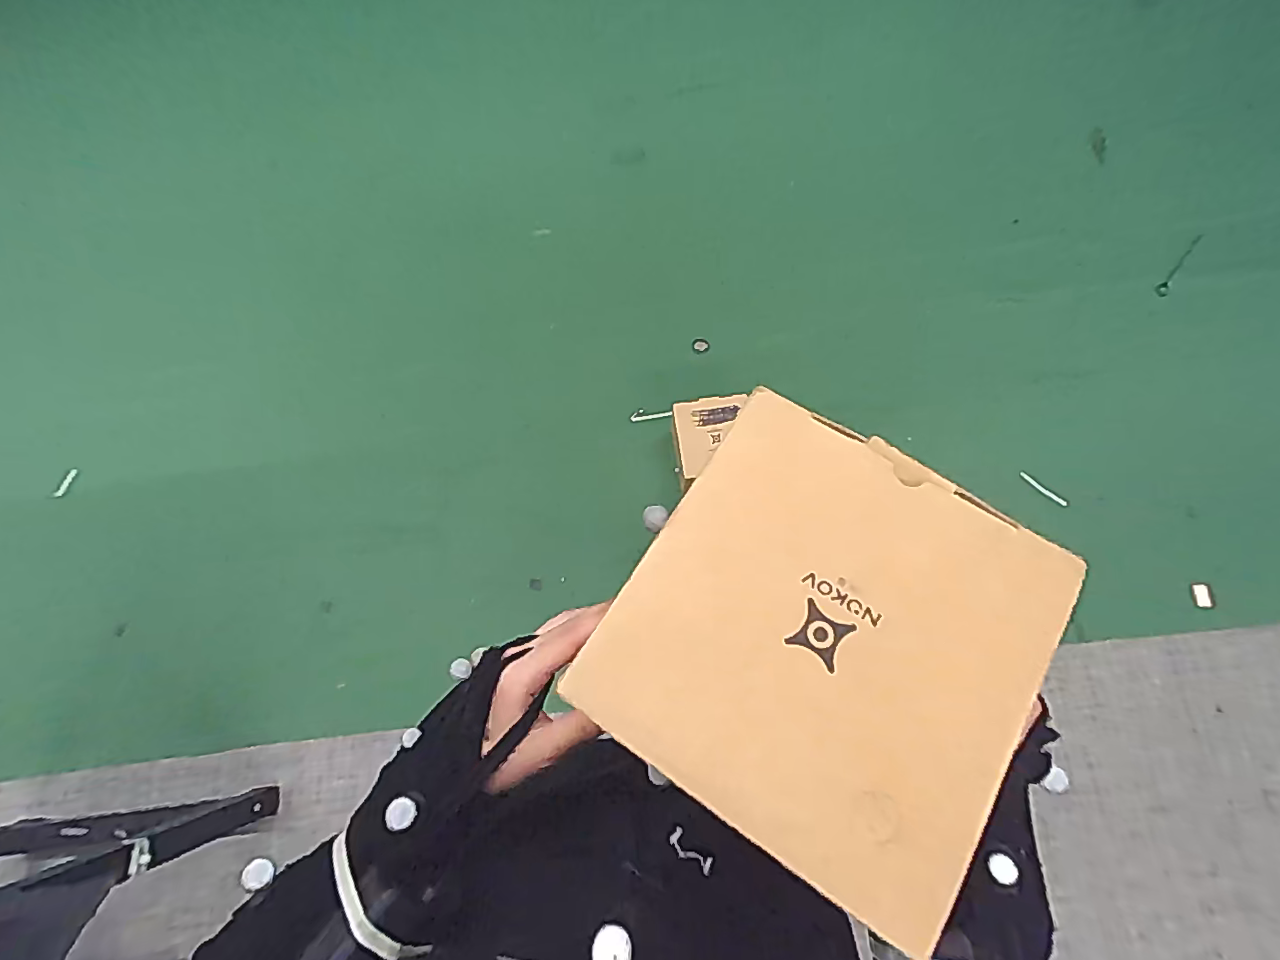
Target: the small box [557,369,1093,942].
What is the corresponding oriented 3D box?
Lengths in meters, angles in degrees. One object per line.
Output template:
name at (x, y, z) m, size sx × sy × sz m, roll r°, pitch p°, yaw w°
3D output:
small box at (0.083, 0.080, 0.301) m, size 0.168 × 0.176 × 0.179 m, roll 31°, pitch 74°, yaw 13°
